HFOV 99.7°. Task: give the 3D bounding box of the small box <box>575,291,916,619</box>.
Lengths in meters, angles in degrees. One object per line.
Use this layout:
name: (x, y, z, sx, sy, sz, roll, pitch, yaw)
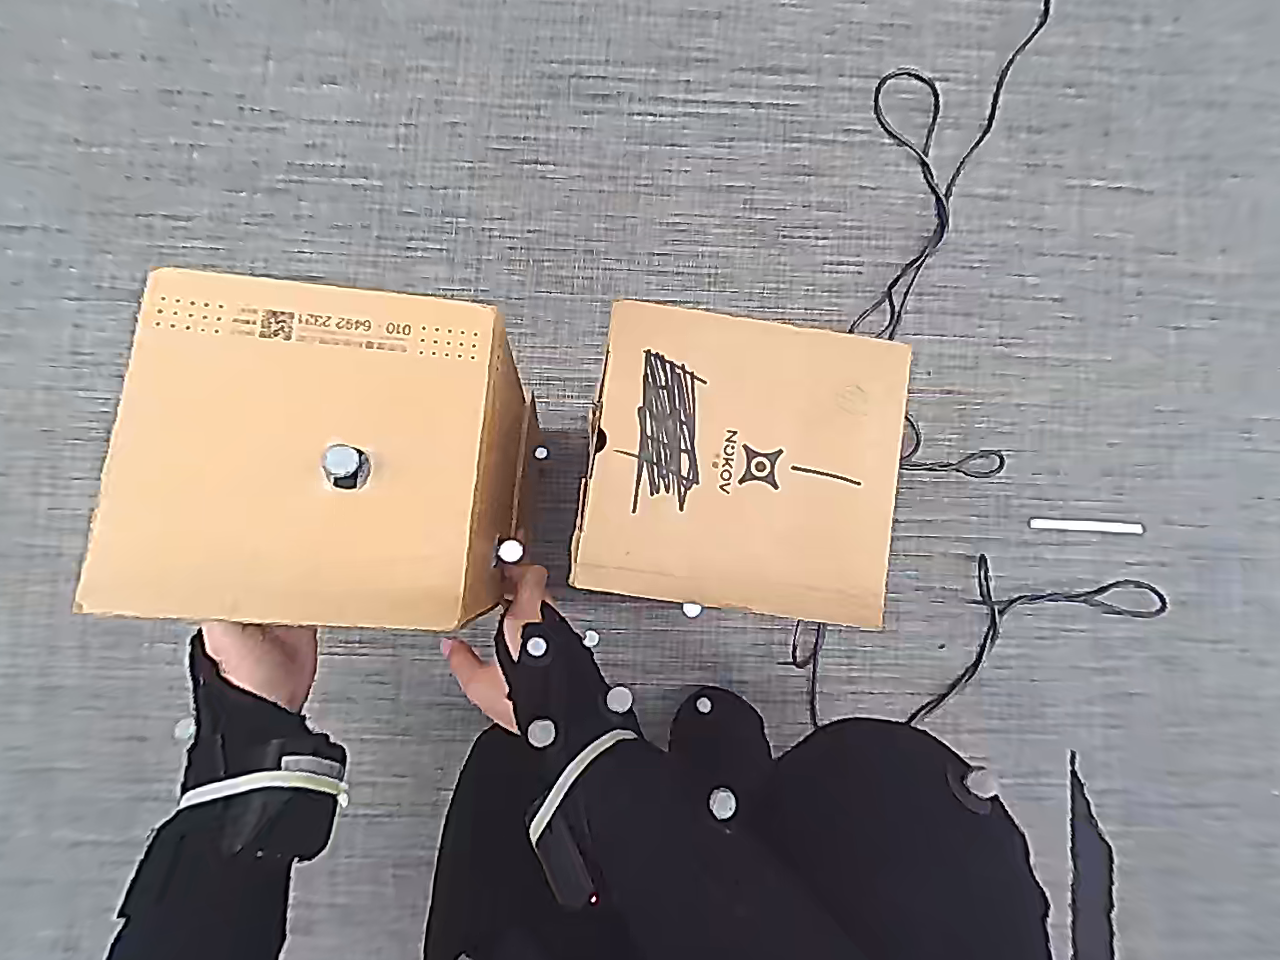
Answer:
small box: (0.059, -0.009, 0.381, 0.179, 0.176, 0.168, 8, 86, -2)
